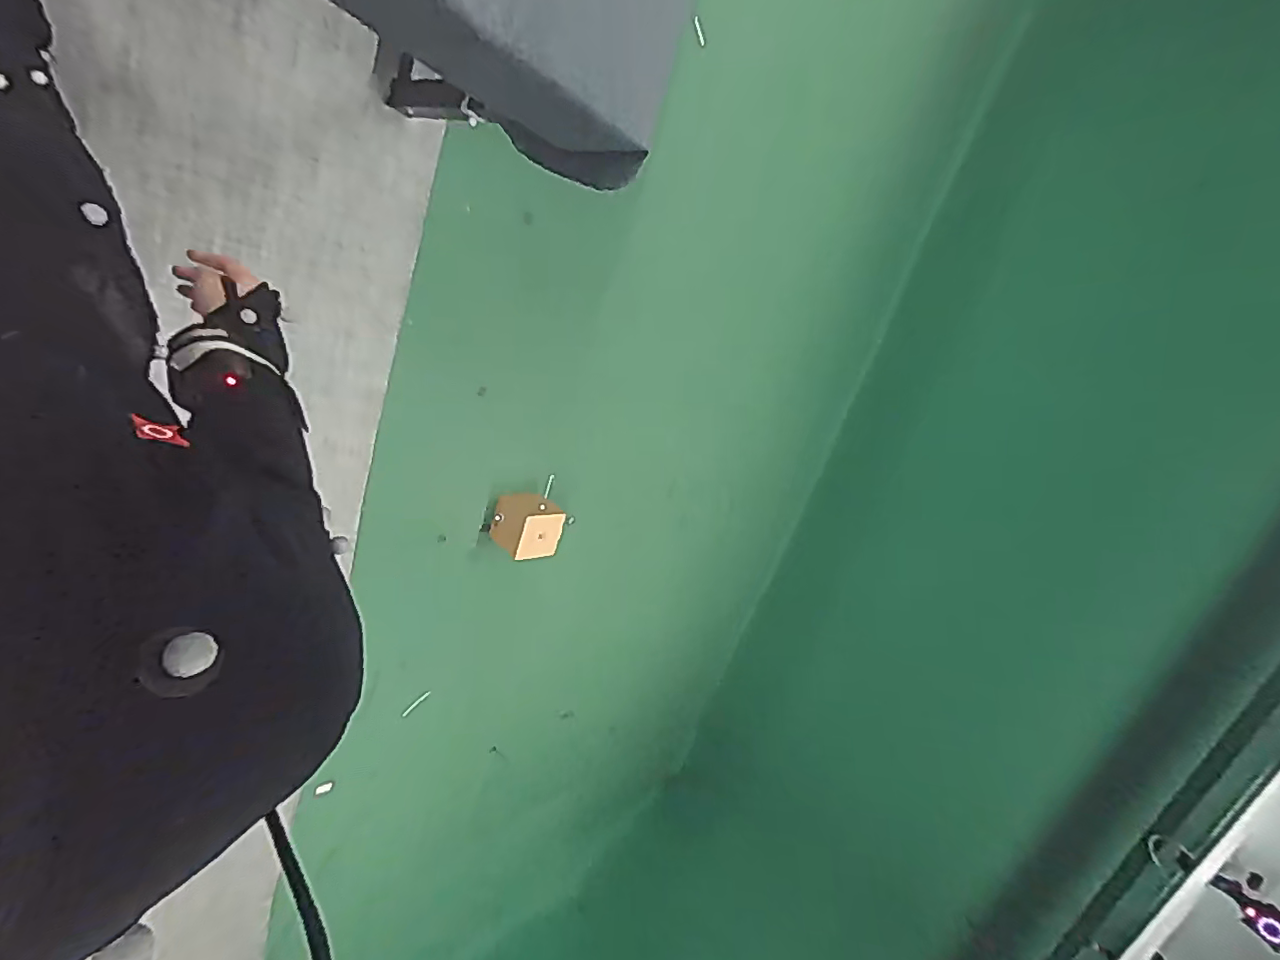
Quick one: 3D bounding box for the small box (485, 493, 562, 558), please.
[{"bbox_3d":[-0.407,0.152,1.875,0.179,0.176,0.168,-1,115,-50],"label":"small box"}]
